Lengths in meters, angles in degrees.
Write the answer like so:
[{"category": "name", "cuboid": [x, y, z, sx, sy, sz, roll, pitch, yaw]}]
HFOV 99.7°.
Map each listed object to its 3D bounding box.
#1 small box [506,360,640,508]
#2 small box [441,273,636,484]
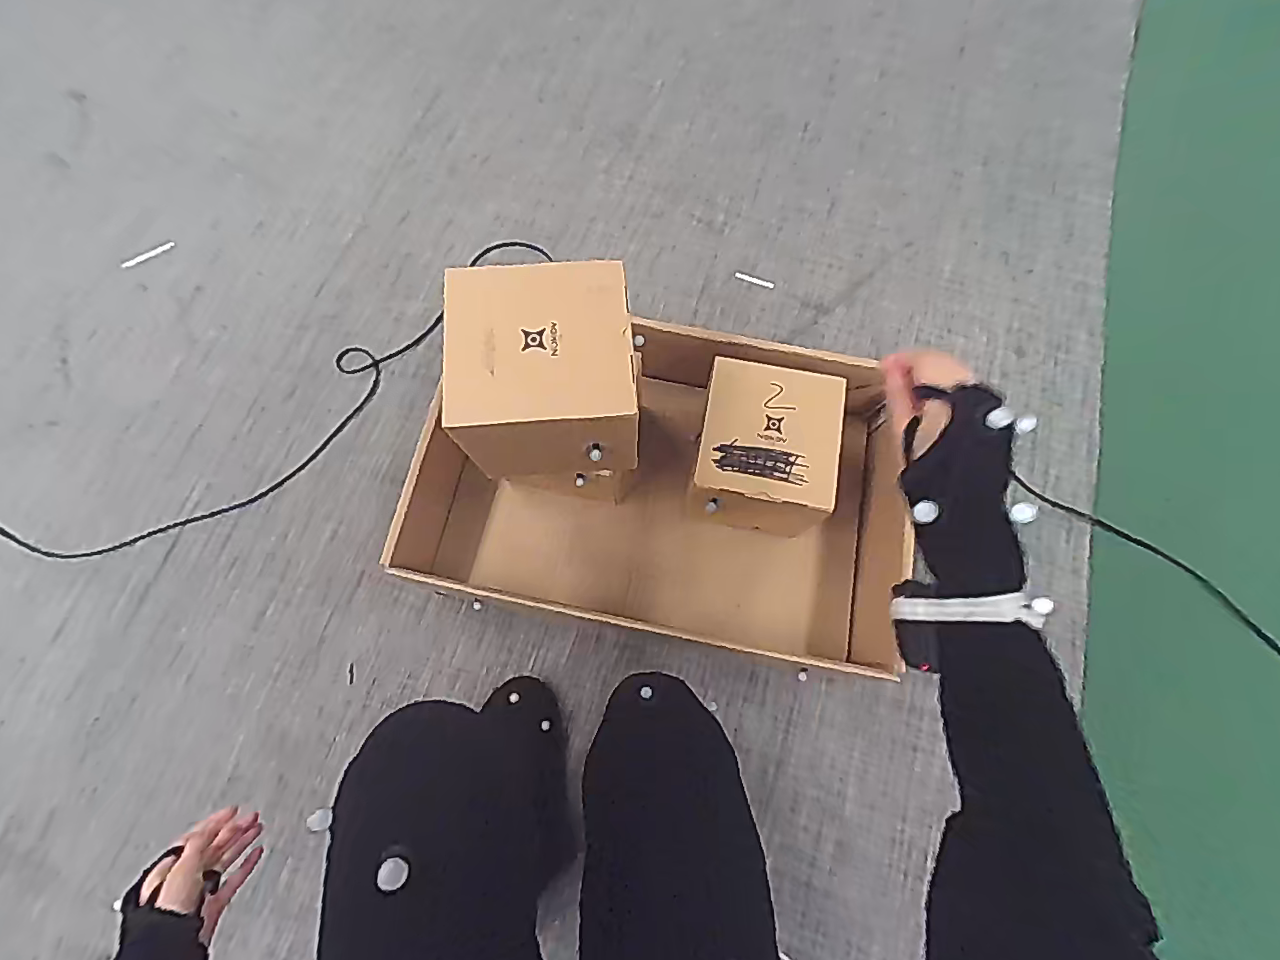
[{"category": "small box", "cuboid": [-0.103, -0.069, 0.740, 0.179, 0.176, 0.168, 12, 74, 2]}, {"category": "small box", "cuboid": [-0.097, -0.098, 0.580, 0.179, 0.176, 0.168, -4, 74, -1]}]
